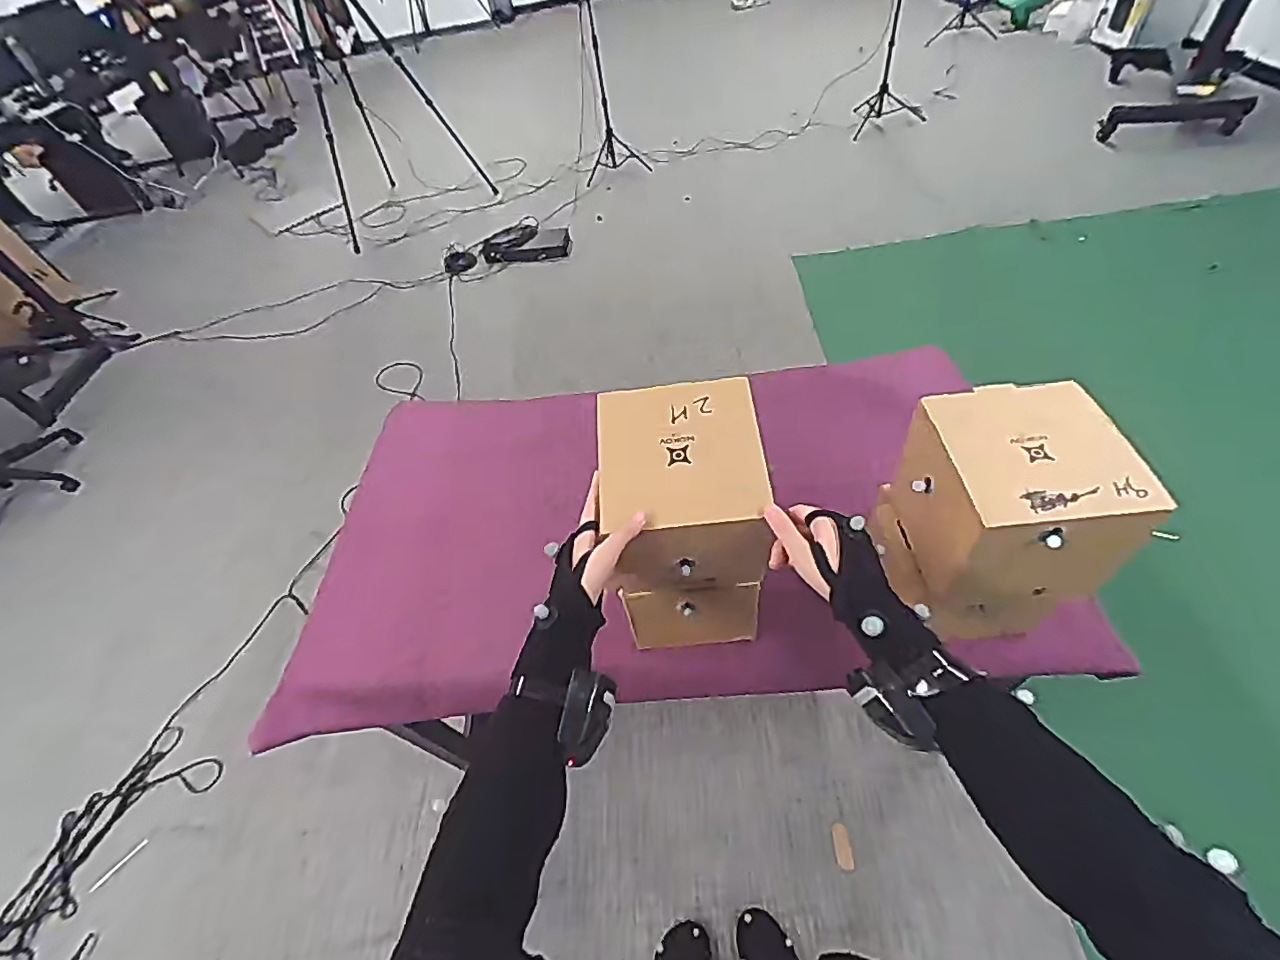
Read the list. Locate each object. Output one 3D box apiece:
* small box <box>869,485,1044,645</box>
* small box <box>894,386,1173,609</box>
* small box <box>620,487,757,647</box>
[{"bbox_3d":[0.428,0.111,0.737,0.179,0.176,0.168,-8,51,4],"label":"small box"},{"bbox_3d":[0.402,0.022,0.600,0.168,0.176,0.179,-6,50,6],"label":"small box"},{"bbox_3d":[0.072,0.132,0.788,0.179,0.176,0.168,-6,49,6],"label":"small box"}]
